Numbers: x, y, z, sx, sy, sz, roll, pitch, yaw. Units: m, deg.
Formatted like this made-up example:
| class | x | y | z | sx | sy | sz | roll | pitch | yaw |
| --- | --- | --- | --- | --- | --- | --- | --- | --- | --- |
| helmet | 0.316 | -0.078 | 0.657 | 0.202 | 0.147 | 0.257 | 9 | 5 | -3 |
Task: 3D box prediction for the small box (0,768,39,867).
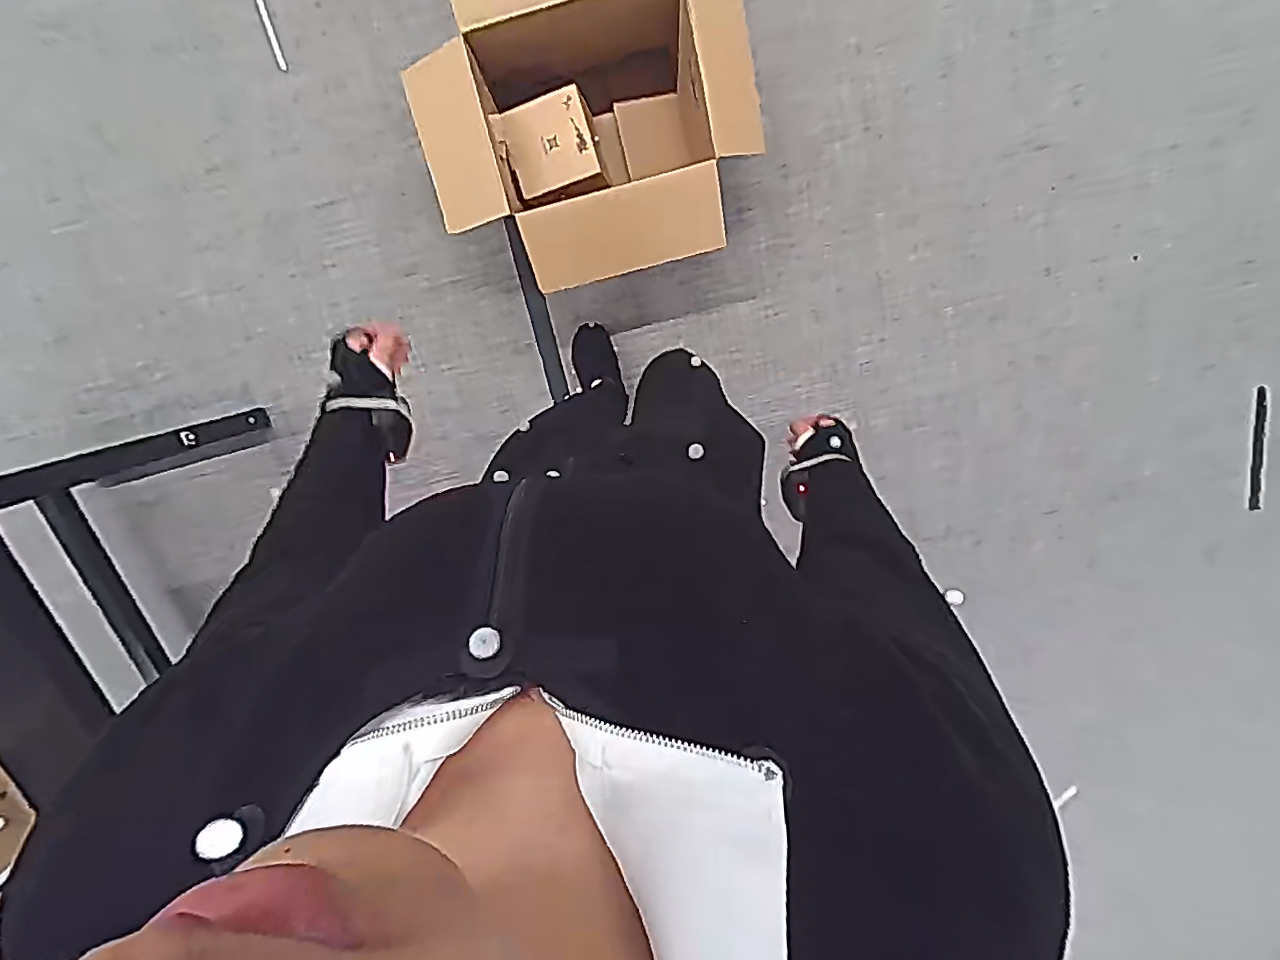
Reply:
| class | x | y | z | sx | sy | sz | roll | pitch | yaw |
| --- | --- | --- | --- | --- | --- | --- | --- | --- | --- |
| small box | -1.107 | 0.565 | 0.819 | 0.179 | 0.176 | 0.168 | -13 | 107 | 3 |
